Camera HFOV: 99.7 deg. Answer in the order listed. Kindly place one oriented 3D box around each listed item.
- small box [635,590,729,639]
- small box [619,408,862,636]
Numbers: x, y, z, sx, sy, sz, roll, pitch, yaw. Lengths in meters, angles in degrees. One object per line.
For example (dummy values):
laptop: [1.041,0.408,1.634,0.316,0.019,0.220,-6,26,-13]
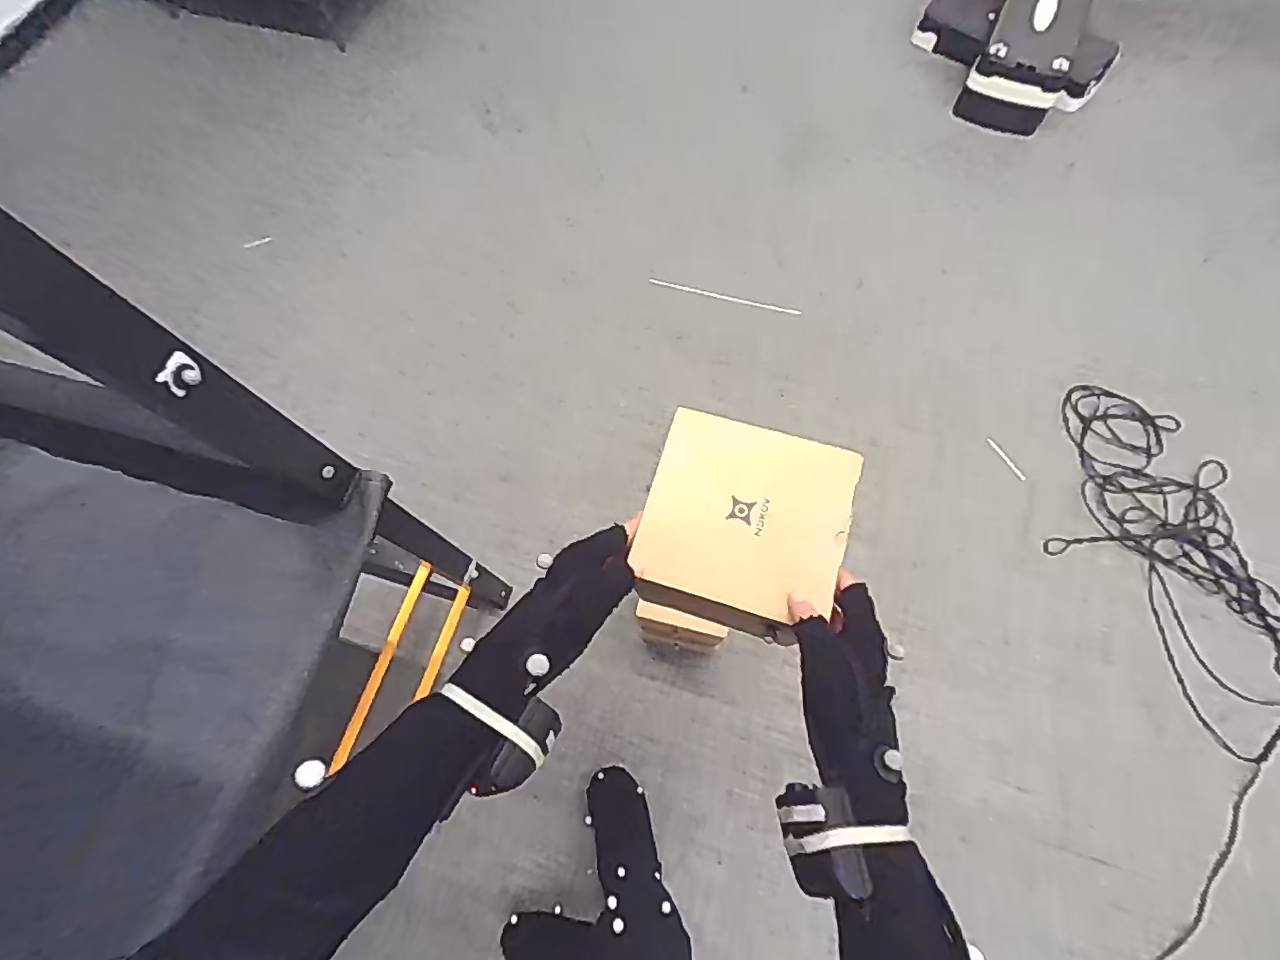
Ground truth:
small box: [0.098,0.221,1.101,0.179,0.176,0.168,12,70,8]
small box: [0.095,0.053,0.541,0.179,0.176,0.168,16,75,9]
